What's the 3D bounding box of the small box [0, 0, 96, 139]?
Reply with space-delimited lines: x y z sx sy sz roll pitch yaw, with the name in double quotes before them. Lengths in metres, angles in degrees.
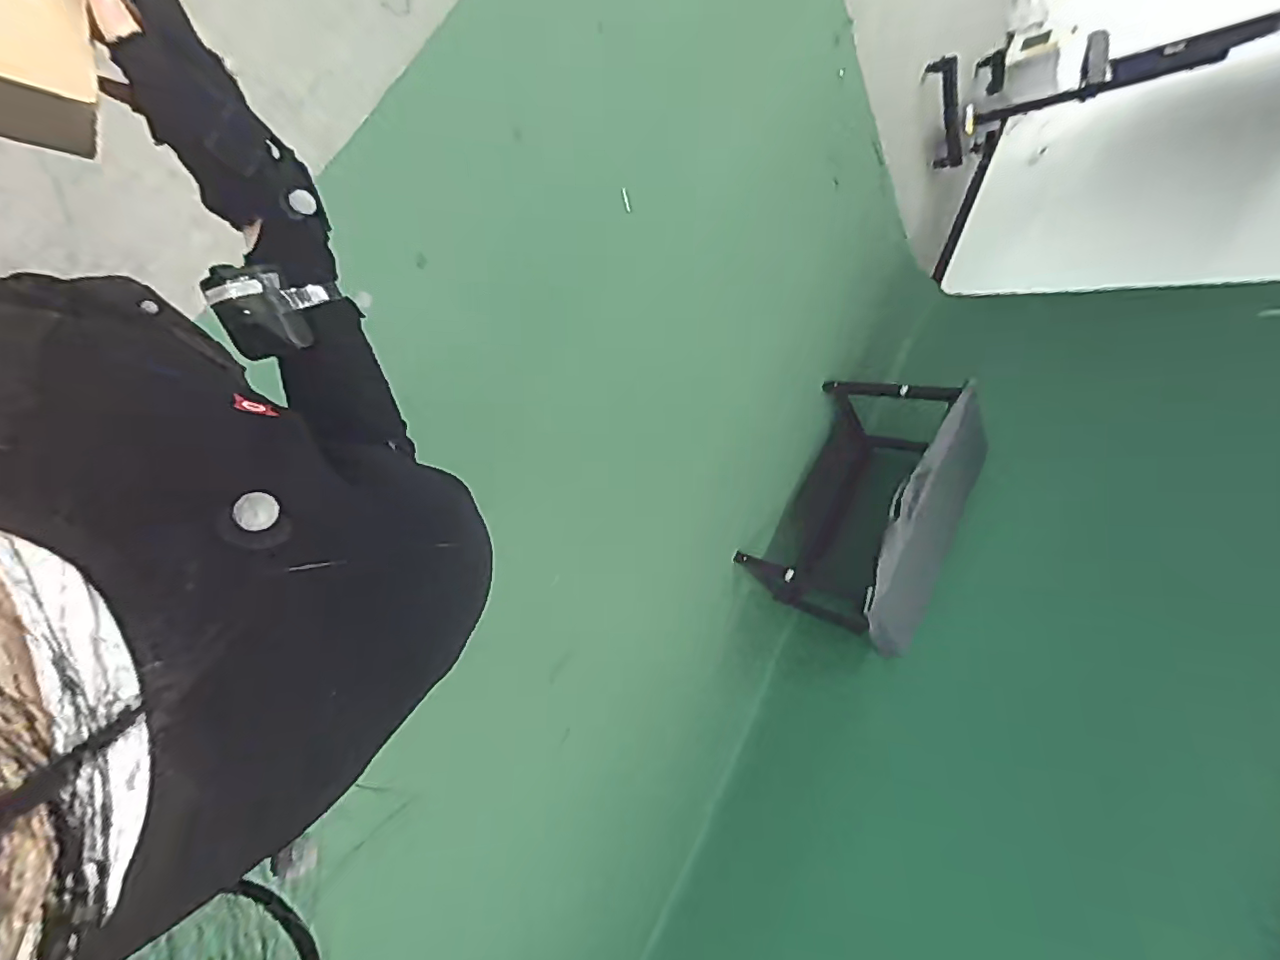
"small box" -0.417 -0.310 0.286 0.179 0.176 0.168 -5 107 -45
